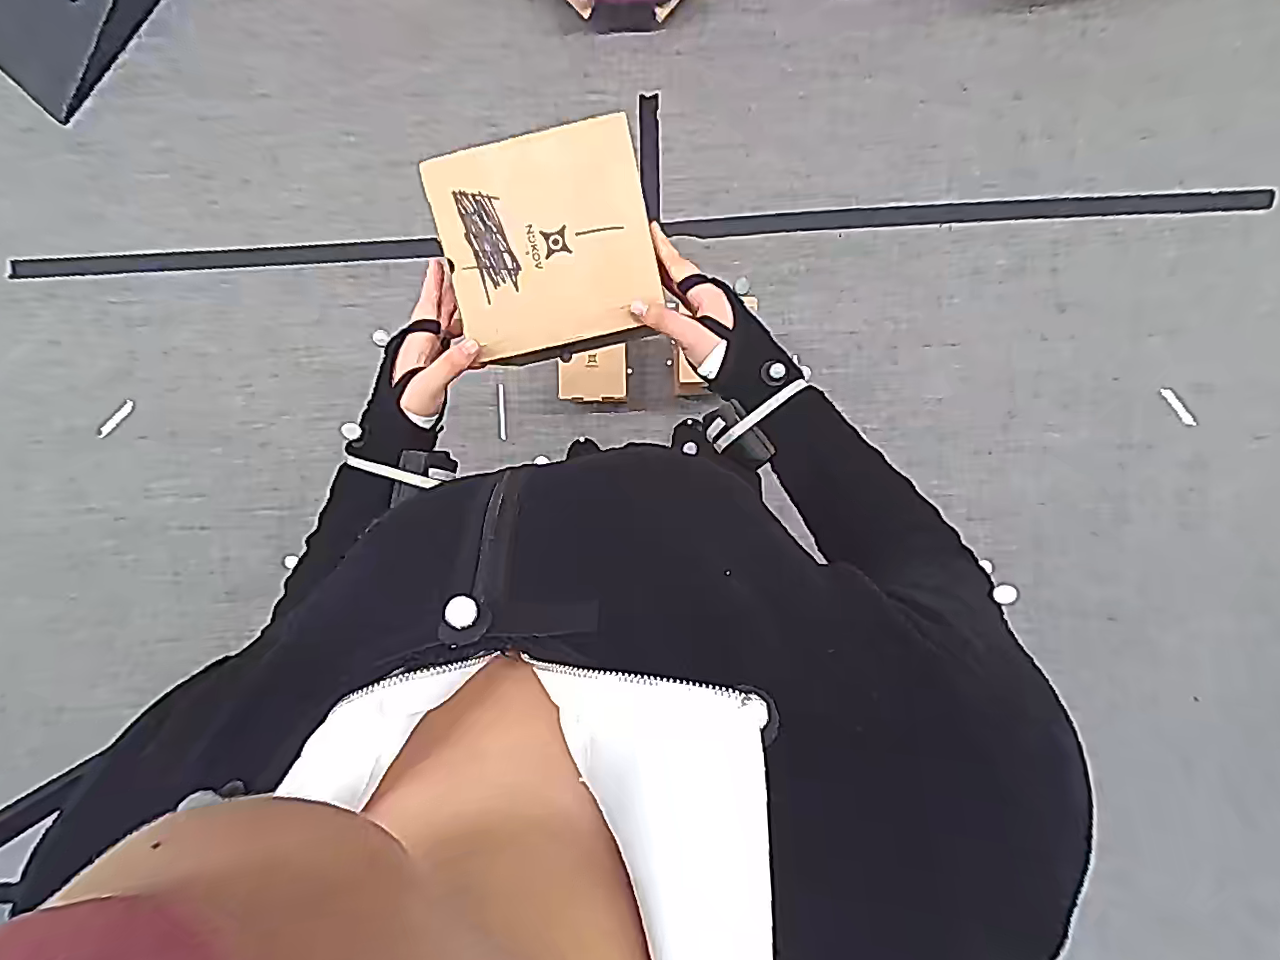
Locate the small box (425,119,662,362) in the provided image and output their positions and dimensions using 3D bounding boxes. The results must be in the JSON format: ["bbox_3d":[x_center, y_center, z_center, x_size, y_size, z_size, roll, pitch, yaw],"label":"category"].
[{"bbox_3d":[-0.078,-0.214,0.534,0.179,0.176,0.168,-11,101,2],"label":"small box"}]

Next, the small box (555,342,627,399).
[{"bbox_3d":[-0.121,-0.297,1.389,0.168,0.176,0.179,0,96,2],"label":"small box"}]

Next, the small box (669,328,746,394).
[{"bbox_3d":[0.168,-0.311,1.384,0.179,0.176,0.168,-3,96,1],"label":"small box"}]

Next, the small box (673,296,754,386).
[{"bbox_3d":[0.161,-0.306,1.221,0.168,0.176,0.179,-1,97,2],"label":"small box"}]
